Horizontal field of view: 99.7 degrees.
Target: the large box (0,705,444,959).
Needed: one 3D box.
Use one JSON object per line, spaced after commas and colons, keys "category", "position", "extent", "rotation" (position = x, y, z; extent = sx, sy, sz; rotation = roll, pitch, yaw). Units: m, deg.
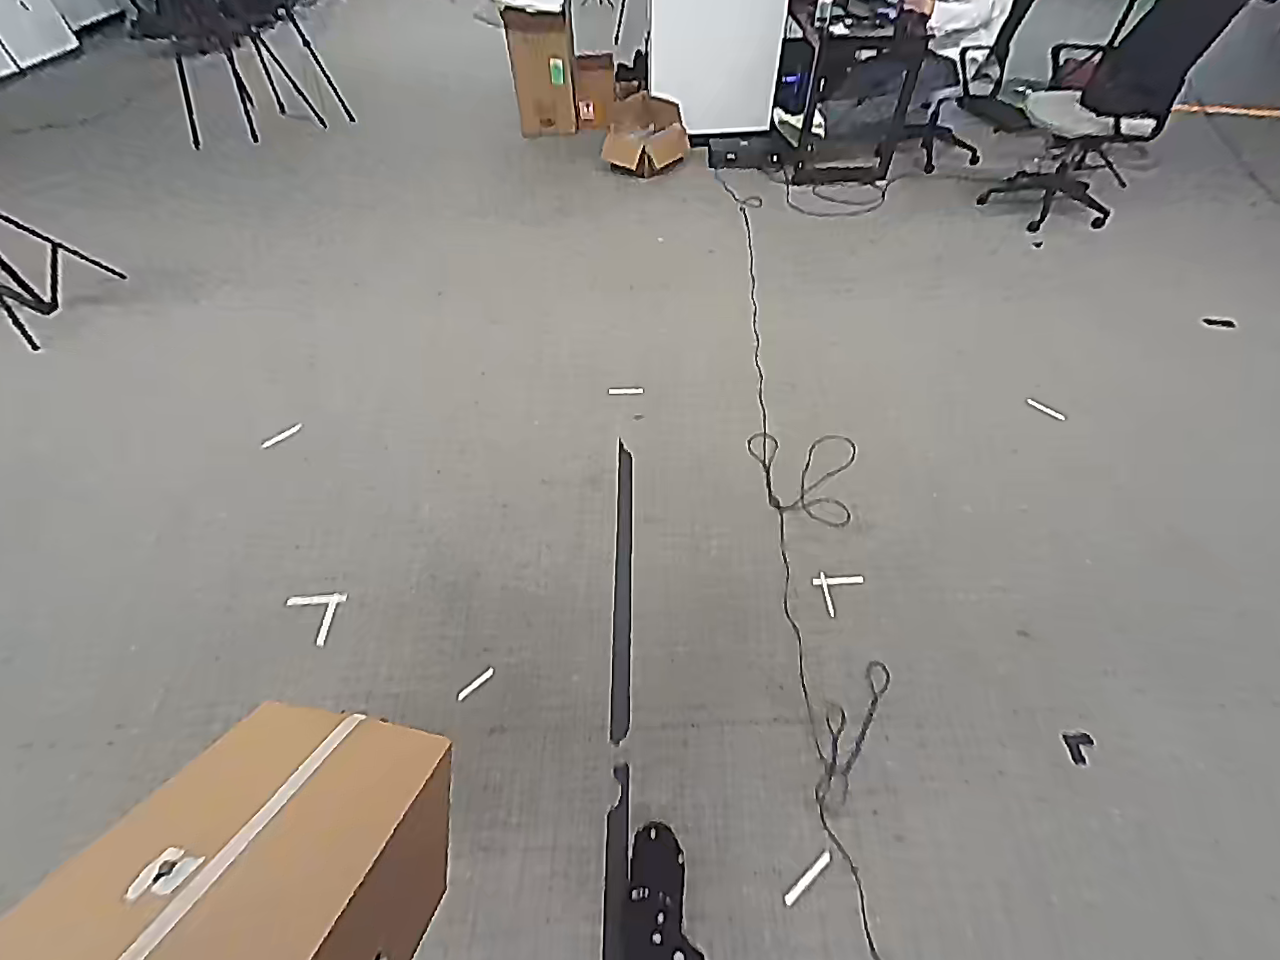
{"category": "large box", "position": [-0.494, 0.581, 0.712], "extent": [0.320, 0.320, 0.408], "rotation": [8, 17, 6]}
